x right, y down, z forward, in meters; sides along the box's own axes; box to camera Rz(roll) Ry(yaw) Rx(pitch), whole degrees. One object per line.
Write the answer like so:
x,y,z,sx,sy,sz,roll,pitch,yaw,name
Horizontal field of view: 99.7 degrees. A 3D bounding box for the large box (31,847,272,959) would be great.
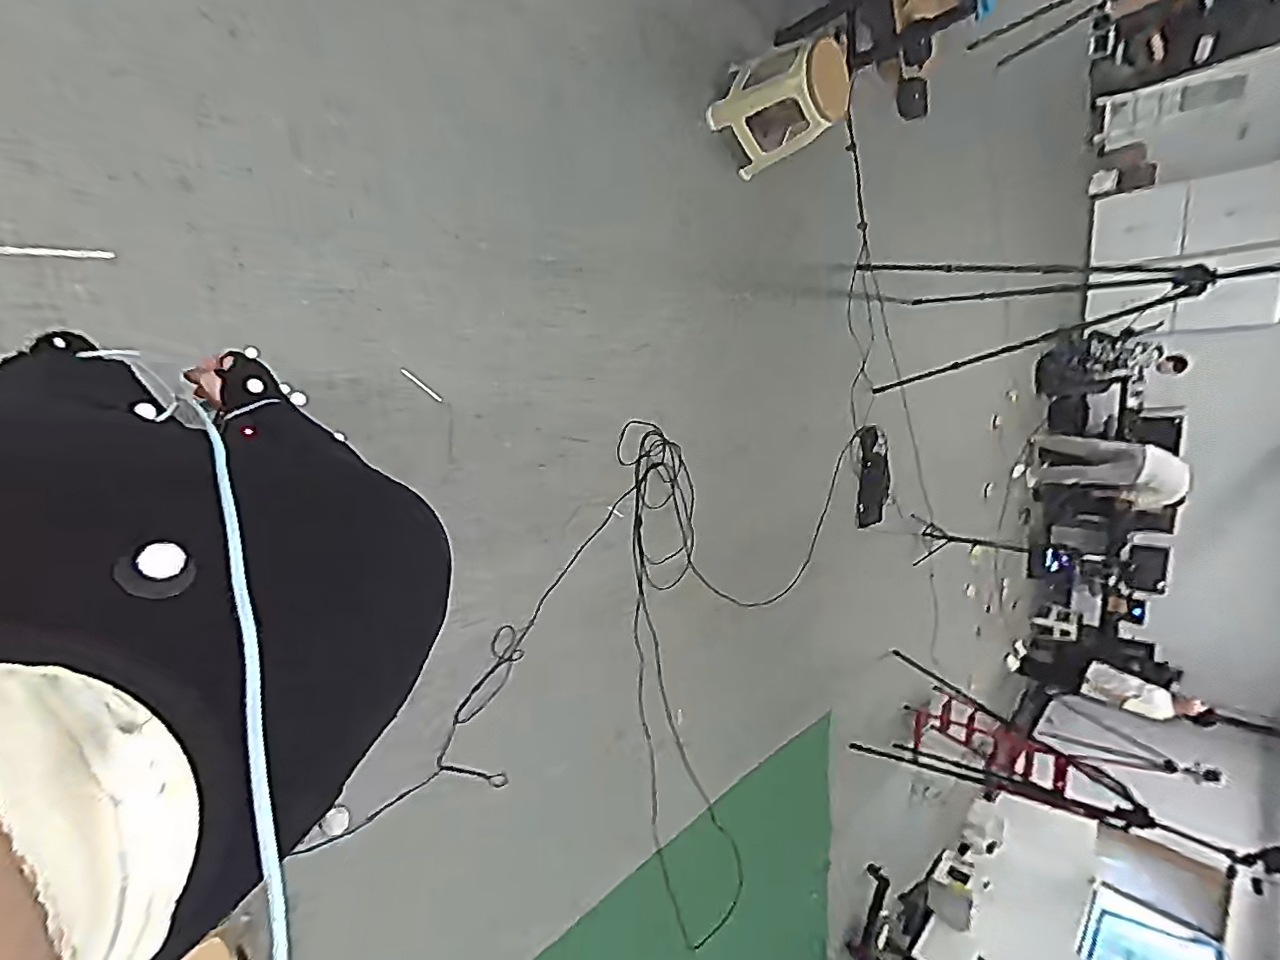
-1.094,1.145,1.189,0.408,0.320,0.320,-25,110,-36,large box
